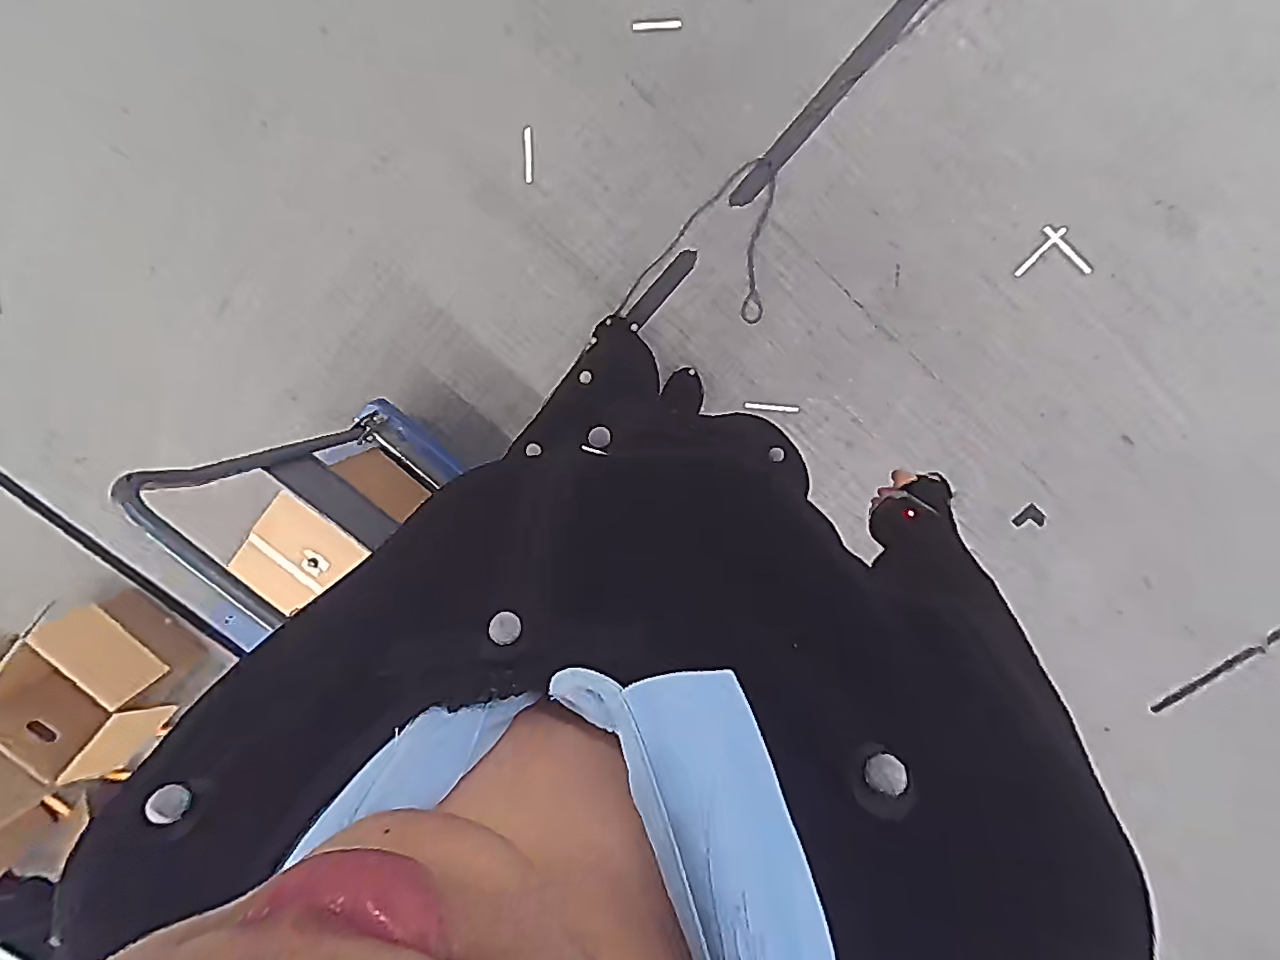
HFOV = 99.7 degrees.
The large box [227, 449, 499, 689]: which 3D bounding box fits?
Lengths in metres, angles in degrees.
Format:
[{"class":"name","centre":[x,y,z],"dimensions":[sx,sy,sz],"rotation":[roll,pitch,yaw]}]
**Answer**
[{"class":"large box","centre":[-0.620,0.191,1.275],"dimensions":[0.408,0.320,0.320],"rotation":[42,105,-6]}]
